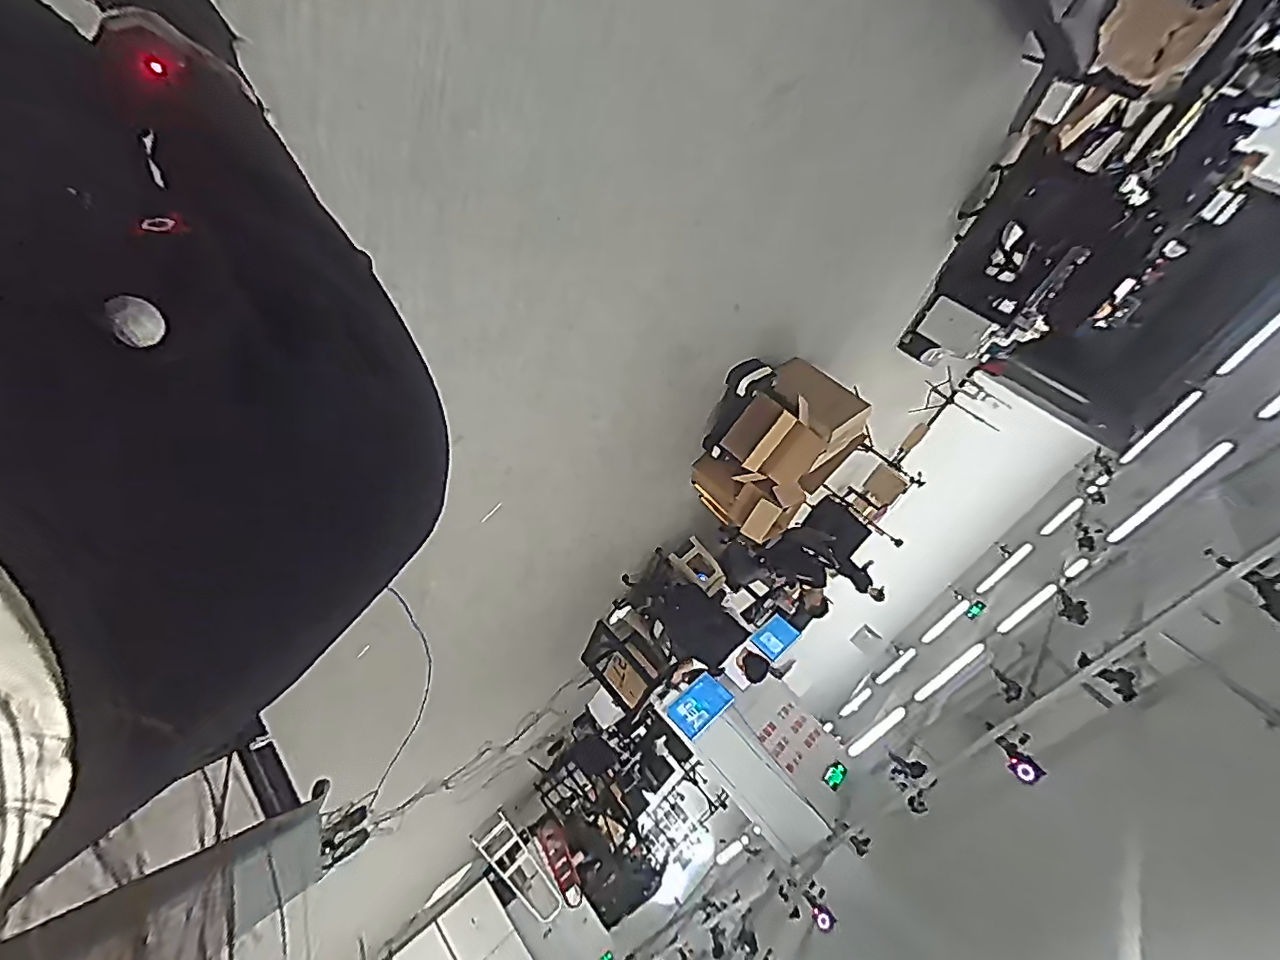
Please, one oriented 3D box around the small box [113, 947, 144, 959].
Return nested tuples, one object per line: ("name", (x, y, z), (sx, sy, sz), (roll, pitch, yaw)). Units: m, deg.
("small box", (-1.282, 1.275, 1.290), (0.168, 0.176, 0.179), (-19, 143, -45))
